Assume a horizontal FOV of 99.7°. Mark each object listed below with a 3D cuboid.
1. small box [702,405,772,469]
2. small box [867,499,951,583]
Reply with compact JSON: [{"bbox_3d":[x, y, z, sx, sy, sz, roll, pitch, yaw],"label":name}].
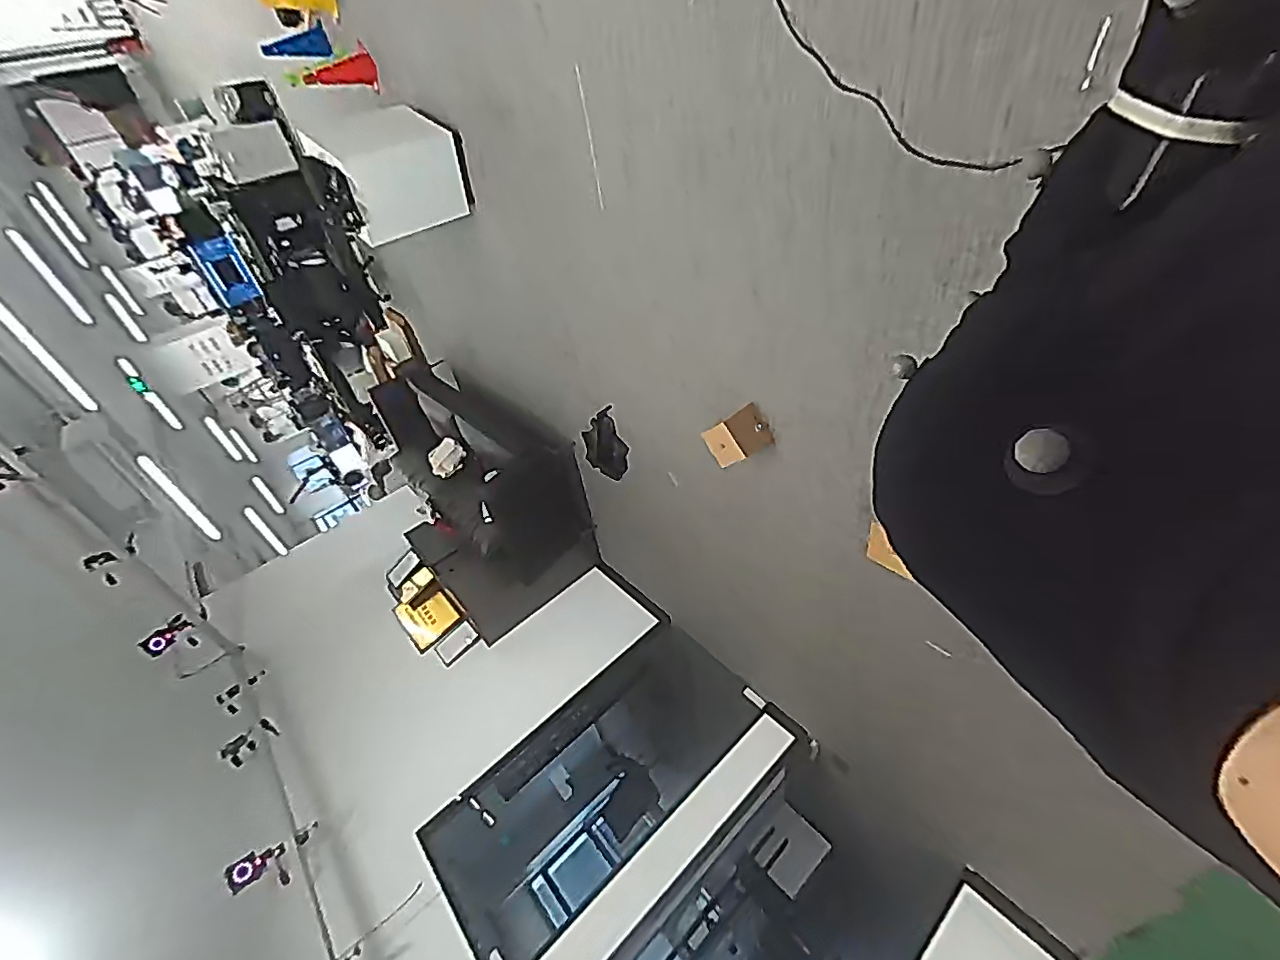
[{"bbox_3d":[0.382,-0.169,2.124,0.168,0.176,0.179,56,154,-3],"label":"small box"},{"bbox_3d":[0.858,0.189,1.725,0.179,0.176,0.168,32,146,41],"label":"small box"}]
